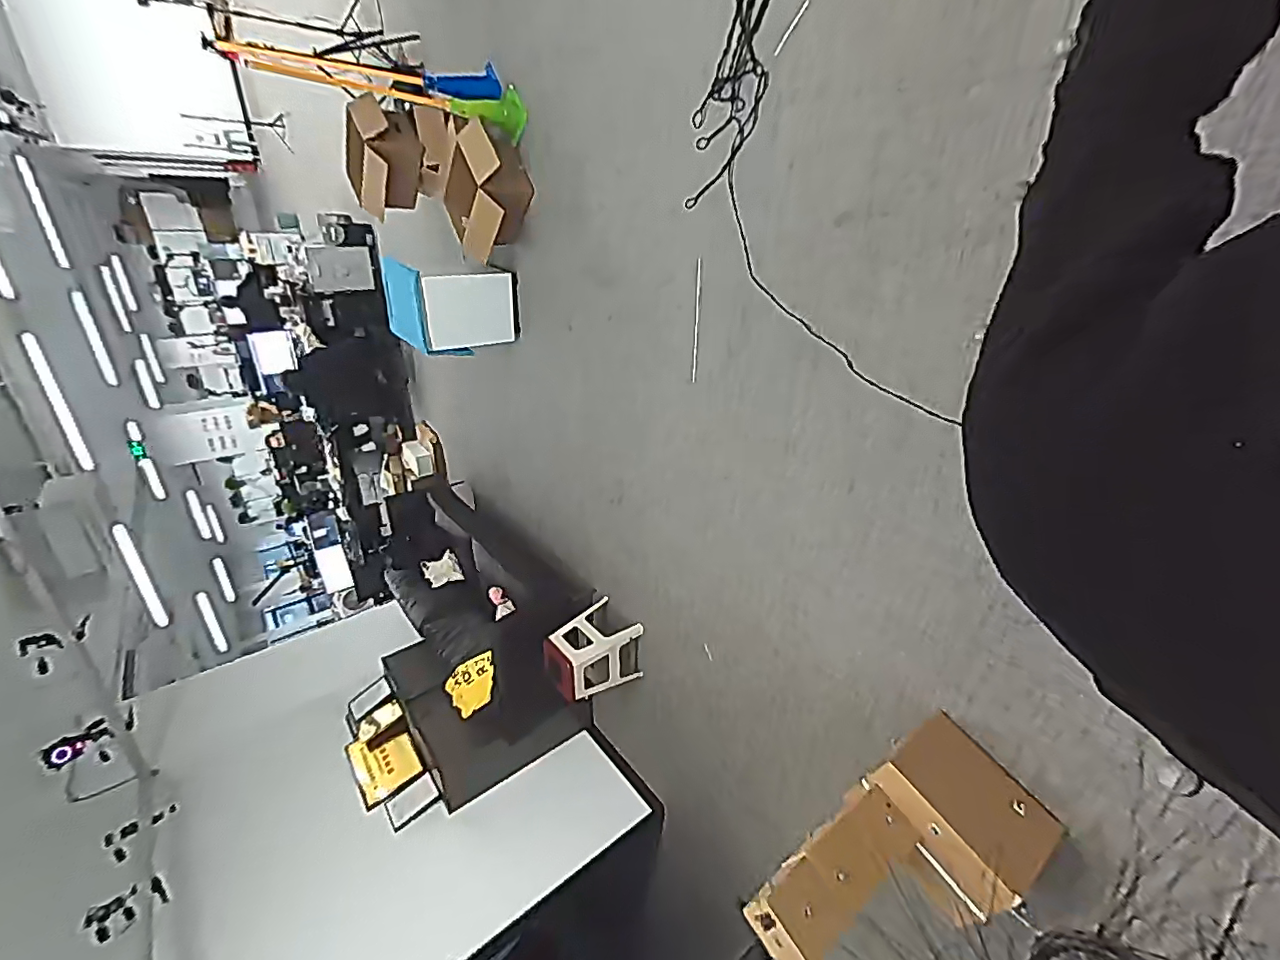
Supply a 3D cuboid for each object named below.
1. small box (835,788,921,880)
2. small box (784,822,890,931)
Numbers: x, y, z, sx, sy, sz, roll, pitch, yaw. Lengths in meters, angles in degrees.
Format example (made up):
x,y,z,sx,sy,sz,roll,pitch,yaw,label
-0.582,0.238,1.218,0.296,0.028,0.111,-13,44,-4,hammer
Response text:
x,y,z,sx,sy,sz,roll,pitch,yaw,label
0.673,1.040,1.569,0.168,0.176,0.179,47,140,31,small box
0.540,1.078,1.484,0.179,0.176,0.168,48,140,30,small box
